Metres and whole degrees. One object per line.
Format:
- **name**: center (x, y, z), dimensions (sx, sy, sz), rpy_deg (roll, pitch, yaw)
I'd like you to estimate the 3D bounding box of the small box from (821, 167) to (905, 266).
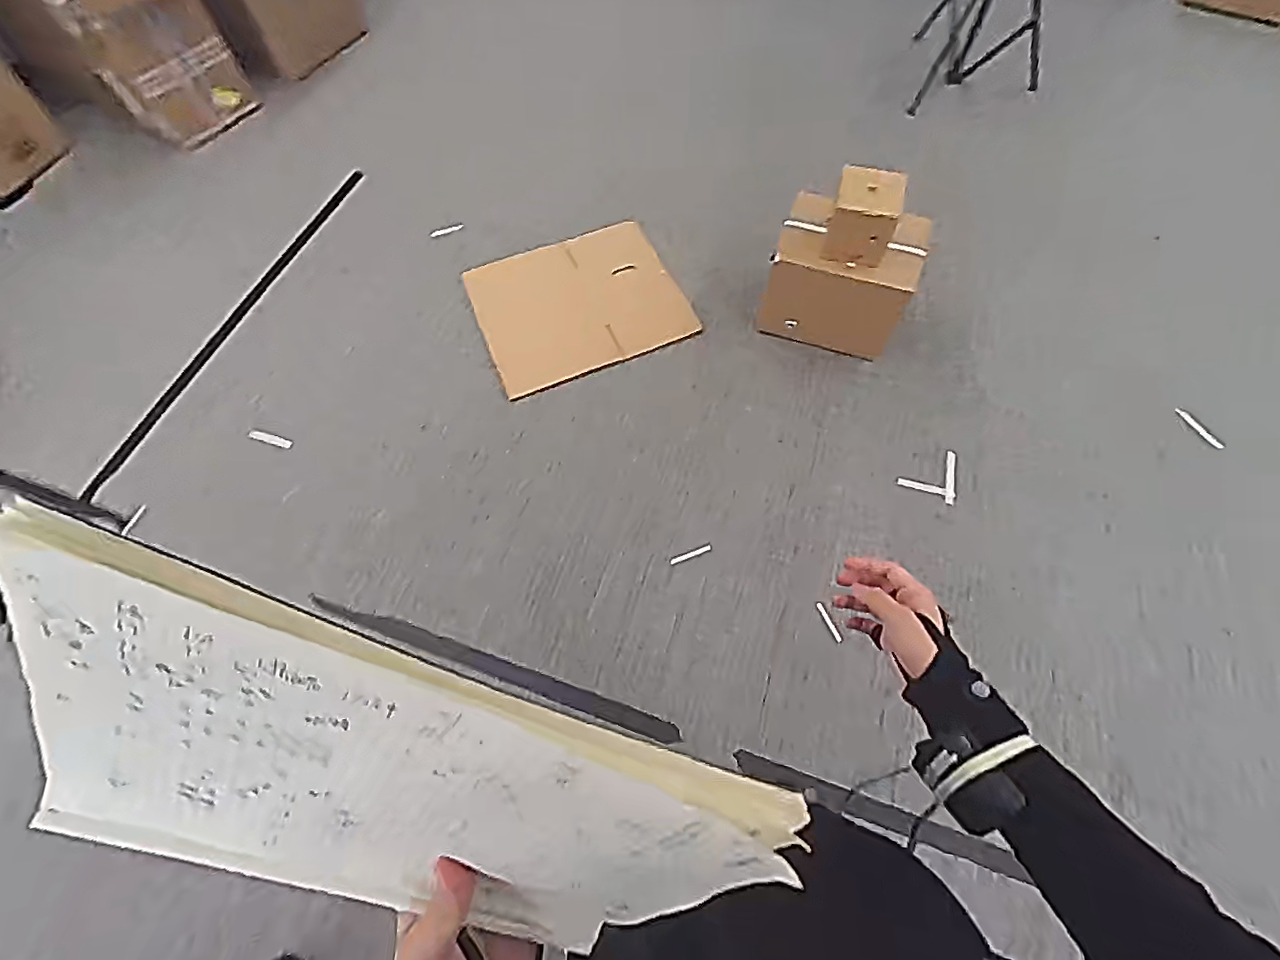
- **small box**: center (0.612, -0.723, 1.496), dimensions (0.168, 0.176, 0.179), rpy_deg (13, 65, 7)
